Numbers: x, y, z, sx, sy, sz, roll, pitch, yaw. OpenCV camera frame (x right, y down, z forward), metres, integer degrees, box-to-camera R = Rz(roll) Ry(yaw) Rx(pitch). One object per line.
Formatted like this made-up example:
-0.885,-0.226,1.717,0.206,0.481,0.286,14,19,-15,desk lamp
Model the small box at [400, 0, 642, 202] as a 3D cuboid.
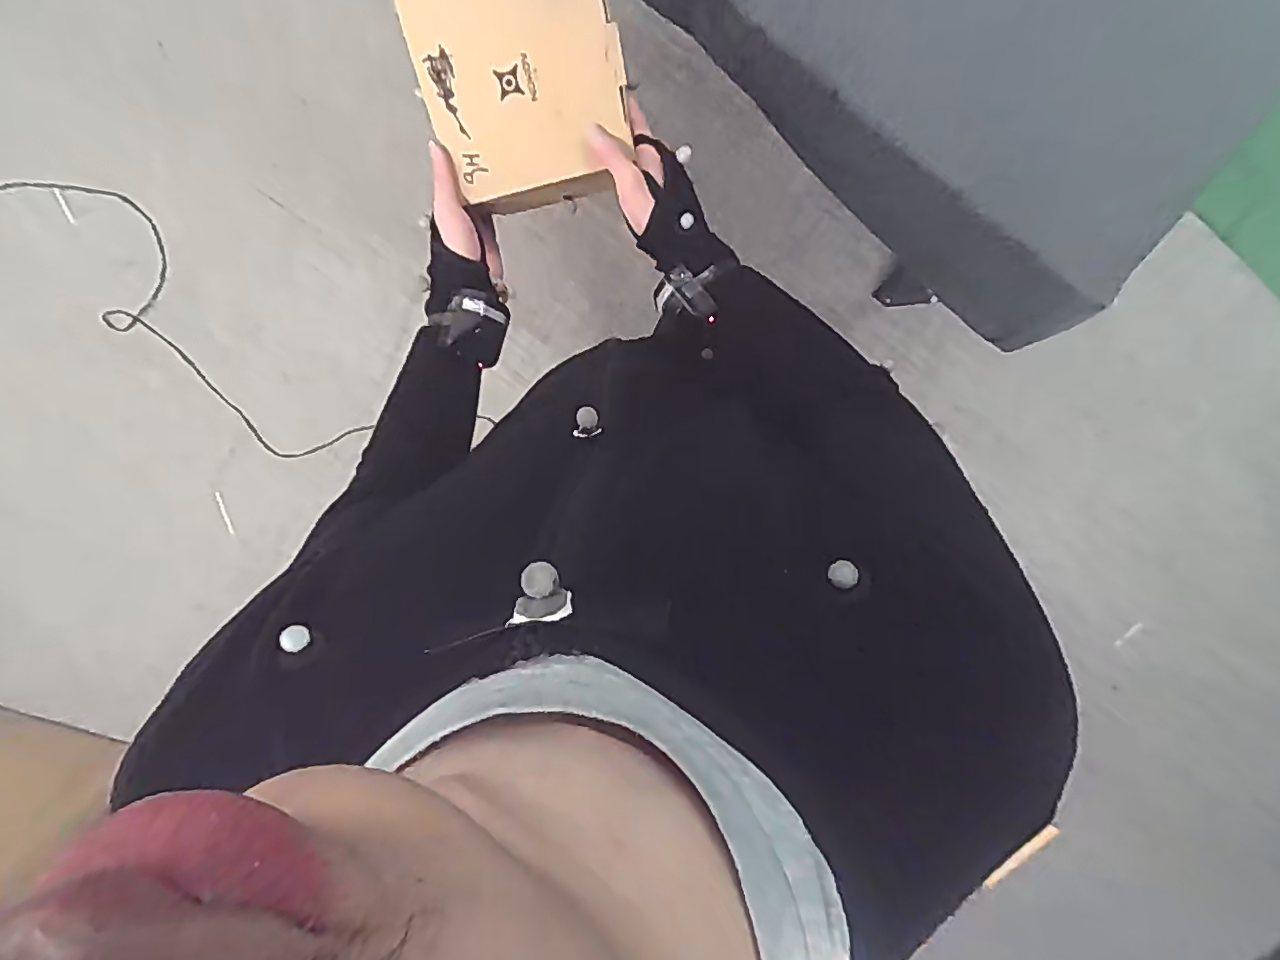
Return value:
-0.098,-0.380,0.524,0.179,0.176,0.168,-10,112,4,small box
